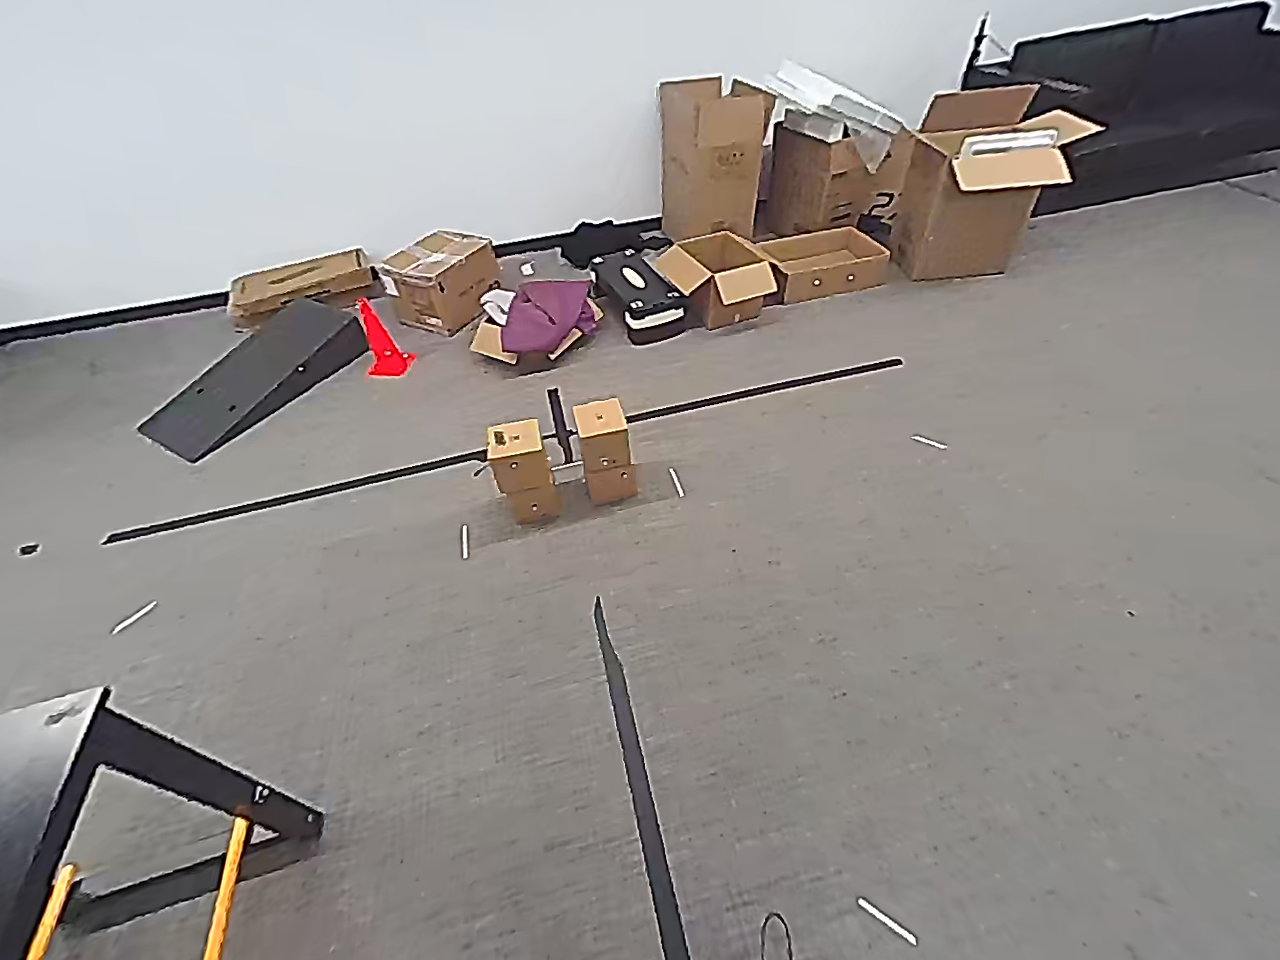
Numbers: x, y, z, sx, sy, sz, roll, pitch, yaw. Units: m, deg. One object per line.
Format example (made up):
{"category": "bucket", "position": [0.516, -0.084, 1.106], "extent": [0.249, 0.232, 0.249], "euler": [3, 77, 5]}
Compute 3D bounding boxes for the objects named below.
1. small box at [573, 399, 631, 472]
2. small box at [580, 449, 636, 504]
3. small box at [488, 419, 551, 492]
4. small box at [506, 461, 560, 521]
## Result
{"category": "small box", "position": [-0.133, -0.155, 1.905], "extent": [0.168, 0.176, 0.179], "euler": [-13, 48, -7]}
{"category": "small box", "position": [-0.117, -0.035, 2.015], "extent": [0.179, 0.176, 0.168], "euler": [-14, 47, -9]}
{"category": "small box", "position": [-0.411, -0.079, 1.849], "extent": [0.179, 0.176, 0.168], "euler": [-11, 46, -5]}
{"category": "small box", "position": [-0.393, 0.032, 1.973], "extent": [0.168, 0.176, 0.179], "euler": [-12, 47, -6]}
